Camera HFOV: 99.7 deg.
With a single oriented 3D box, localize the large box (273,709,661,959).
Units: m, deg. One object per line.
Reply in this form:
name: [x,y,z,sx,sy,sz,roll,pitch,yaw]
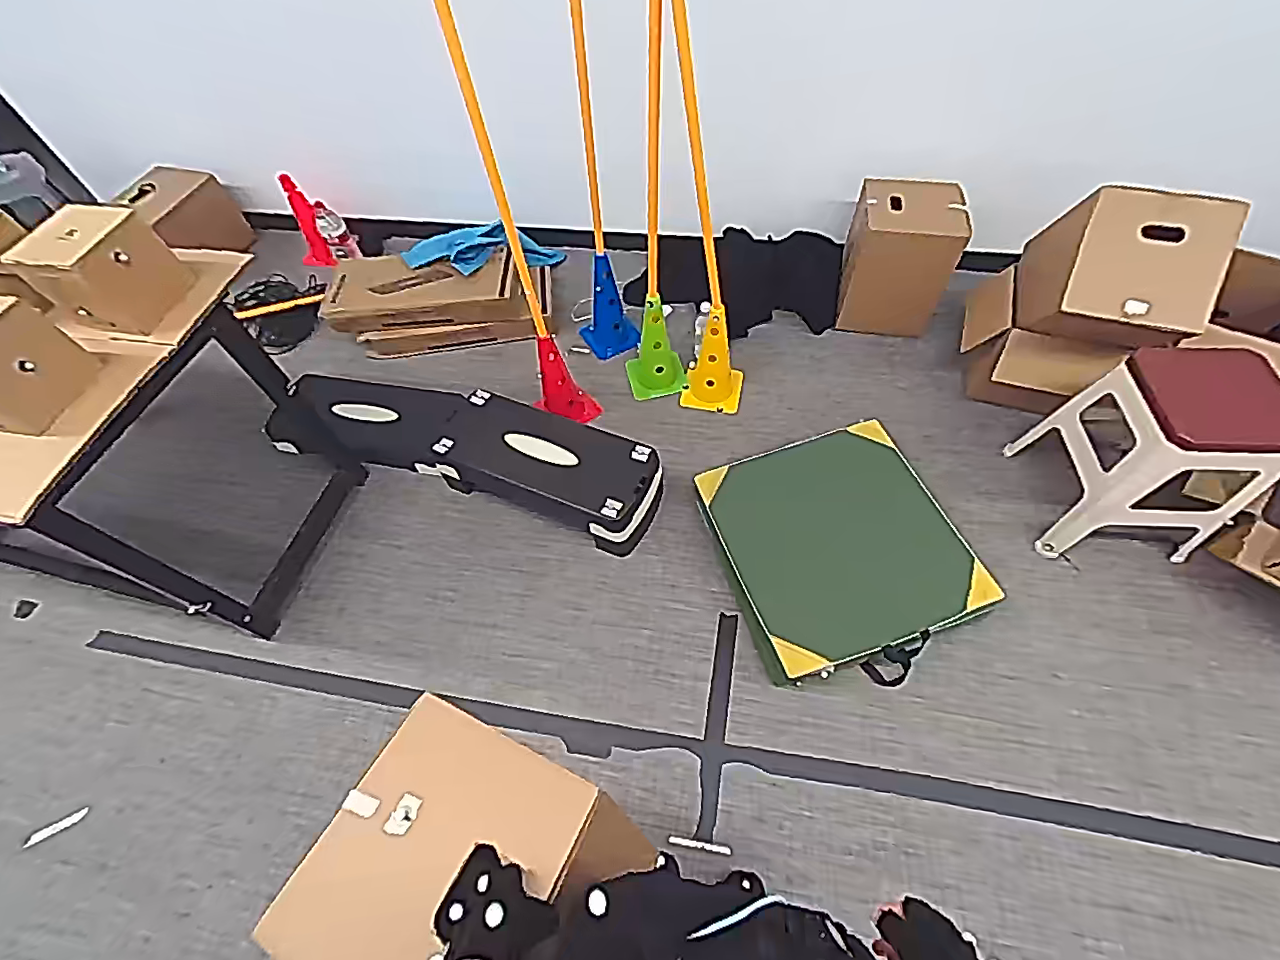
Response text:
large box: [-0.201,0.598,0.785,0.320,0.408,0.320,15,54,27]
